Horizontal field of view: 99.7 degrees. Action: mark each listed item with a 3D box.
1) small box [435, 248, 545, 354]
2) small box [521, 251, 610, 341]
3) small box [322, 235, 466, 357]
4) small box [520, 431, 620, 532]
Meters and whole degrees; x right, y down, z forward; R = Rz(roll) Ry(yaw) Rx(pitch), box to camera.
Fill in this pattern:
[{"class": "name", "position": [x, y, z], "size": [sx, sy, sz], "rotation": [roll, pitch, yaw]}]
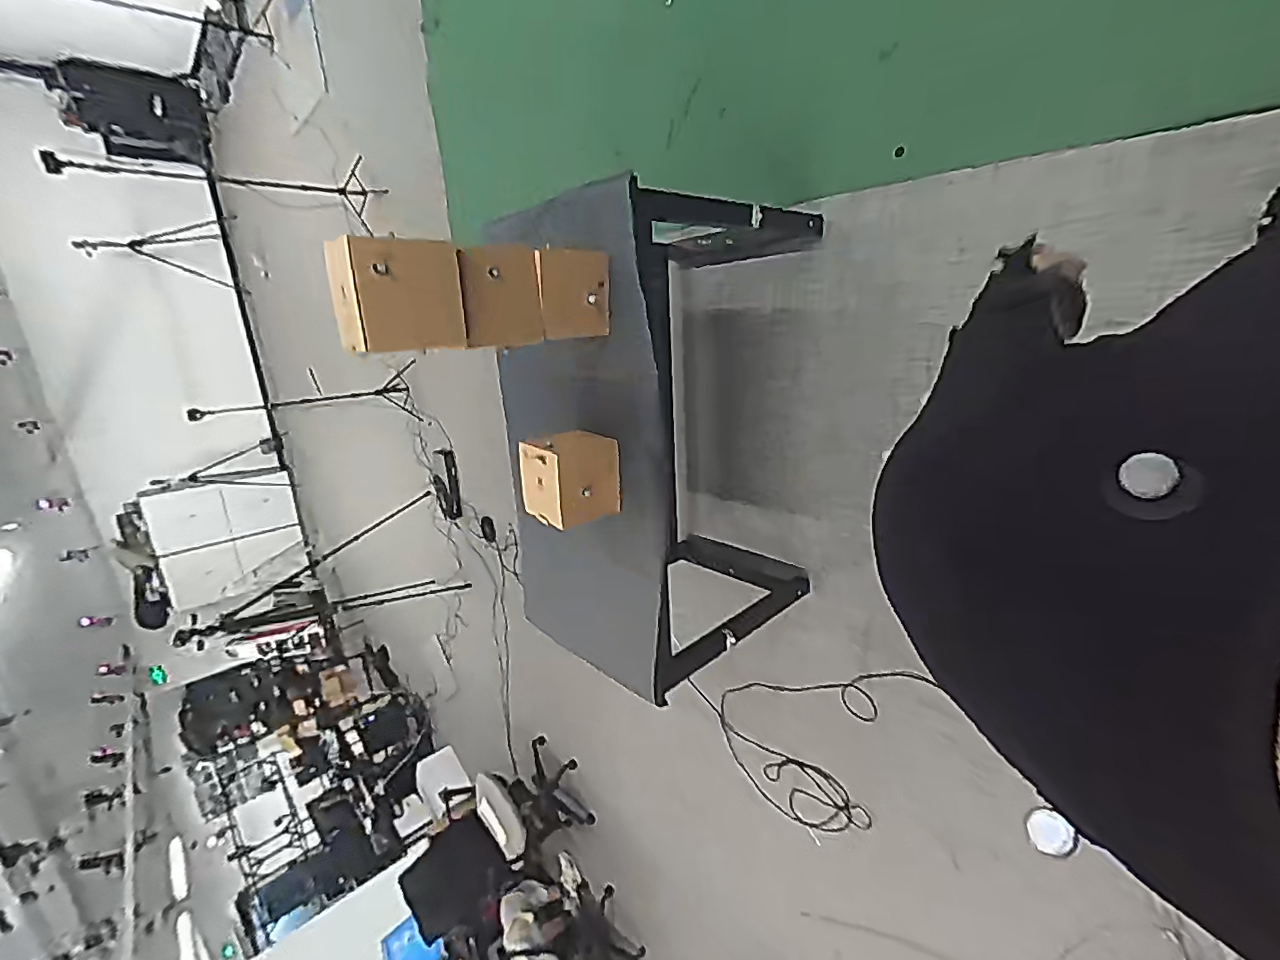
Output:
[{"class": "small box", "position": [-0.303, -0.341, 1.042], "size": [0.168, 0.176, 0.179], "rotation": [14, 115, 49]}, {"class": "small box", "position": [-0.181, -0.389, 1.138], "size": [0.179, 0.176, 0.168], "rotation": [22, 121, 44]}, {"class": "small box", "position": [-0.414, -0.311, 0.922], "size": [0.168, 0.176, 0.179], "rotation": [20, 119, 47]}, {"class": "small box", "position": [-0.158, -0.004, 1.258], "size": [0.168, 0.176, 0.179], "rotation": [18, 117, 46]}]
